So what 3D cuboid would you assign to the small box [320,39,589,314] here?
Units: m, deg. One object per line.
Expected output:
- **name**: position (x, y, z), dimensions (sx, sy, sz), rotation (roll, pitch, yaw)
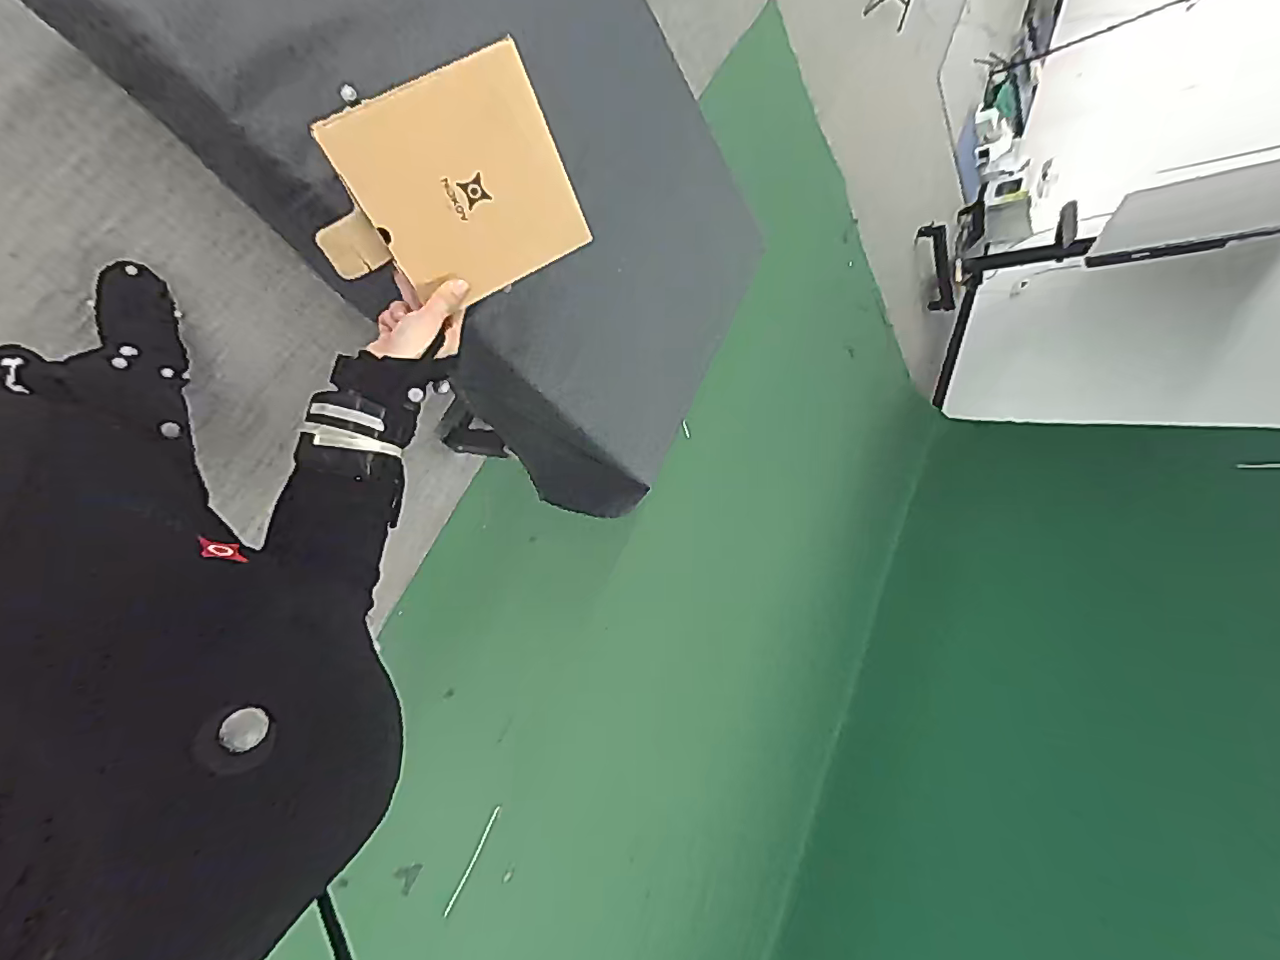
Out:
- **small box**: position (-0.180, -0.296, 0.529), dimensions (0.179, 0.176, 0.168), rotation (-30, 130, -7)
